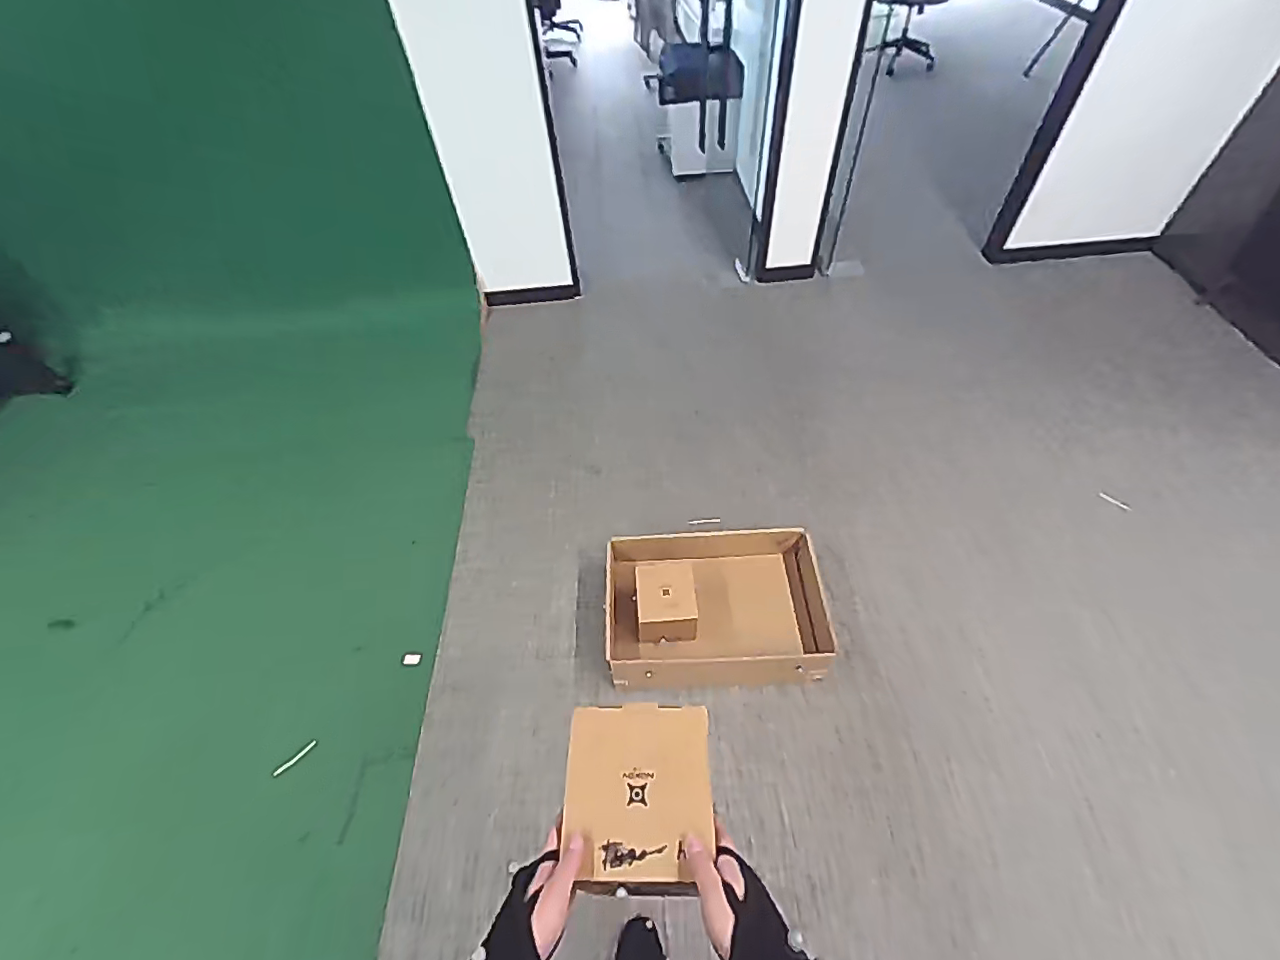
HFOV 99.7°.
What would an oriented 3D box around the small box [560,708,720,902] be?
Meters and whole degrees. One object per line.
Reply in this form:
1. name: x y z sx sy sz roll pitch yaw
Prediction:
1. small box: 0.007 0.397 0.661 0.168 0.176 0.179 -2 49 5
